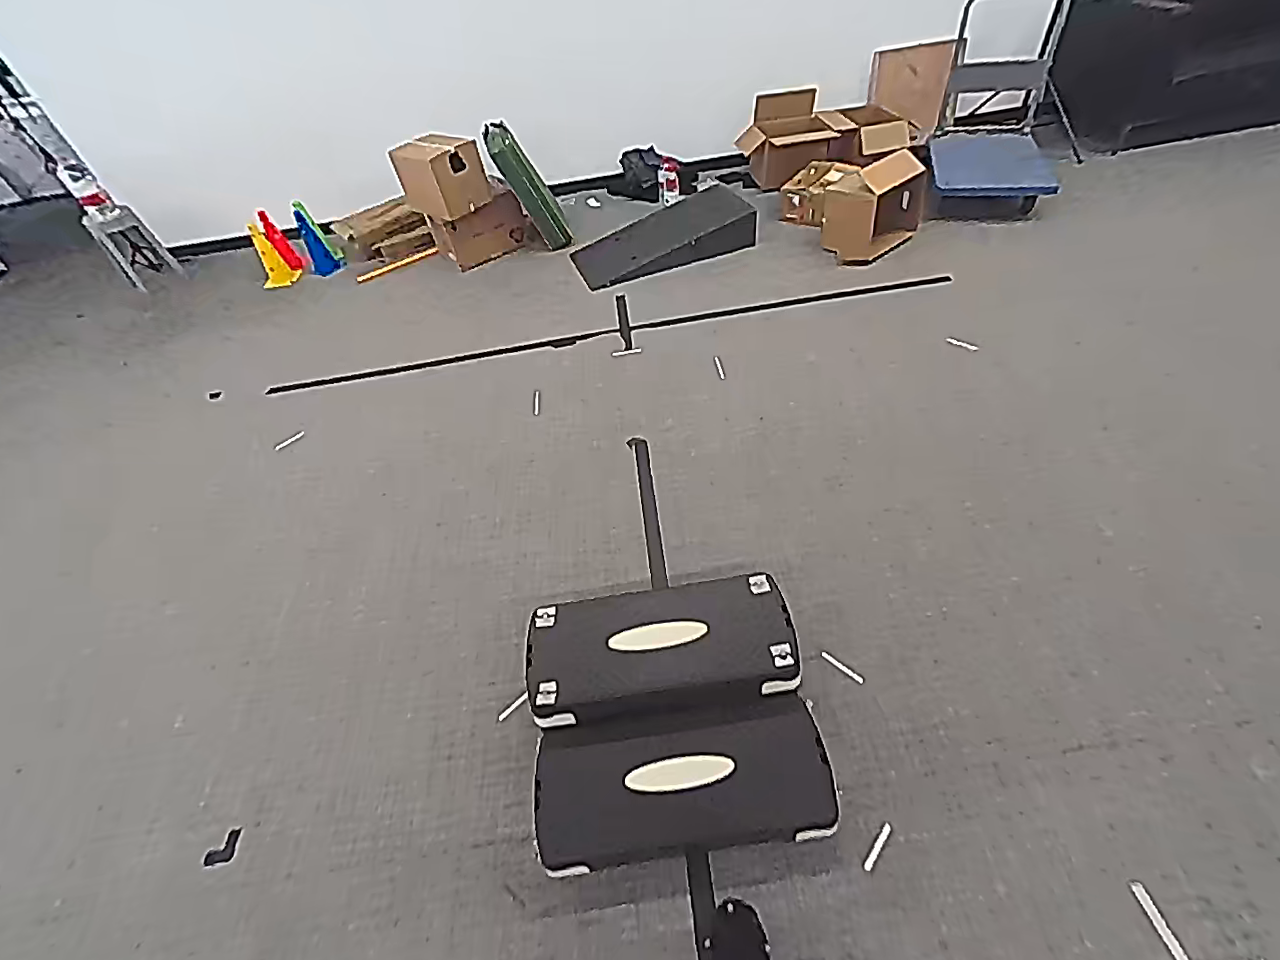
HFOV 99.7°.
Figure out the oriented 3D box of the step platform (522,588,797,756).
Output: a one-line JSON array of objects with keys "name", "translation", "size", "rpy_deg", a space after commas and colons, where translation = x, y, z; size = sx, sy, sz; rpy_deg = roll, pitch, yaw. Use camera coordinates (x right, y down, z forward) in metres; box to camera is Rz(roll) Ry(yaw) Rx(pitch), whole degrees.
[{"name": "step platform", "translation": [0.044, 0.483, 1.388], "size": [0.684, 0.204, 0.286], "rpy_deg": [-9, 47, -1]}]
